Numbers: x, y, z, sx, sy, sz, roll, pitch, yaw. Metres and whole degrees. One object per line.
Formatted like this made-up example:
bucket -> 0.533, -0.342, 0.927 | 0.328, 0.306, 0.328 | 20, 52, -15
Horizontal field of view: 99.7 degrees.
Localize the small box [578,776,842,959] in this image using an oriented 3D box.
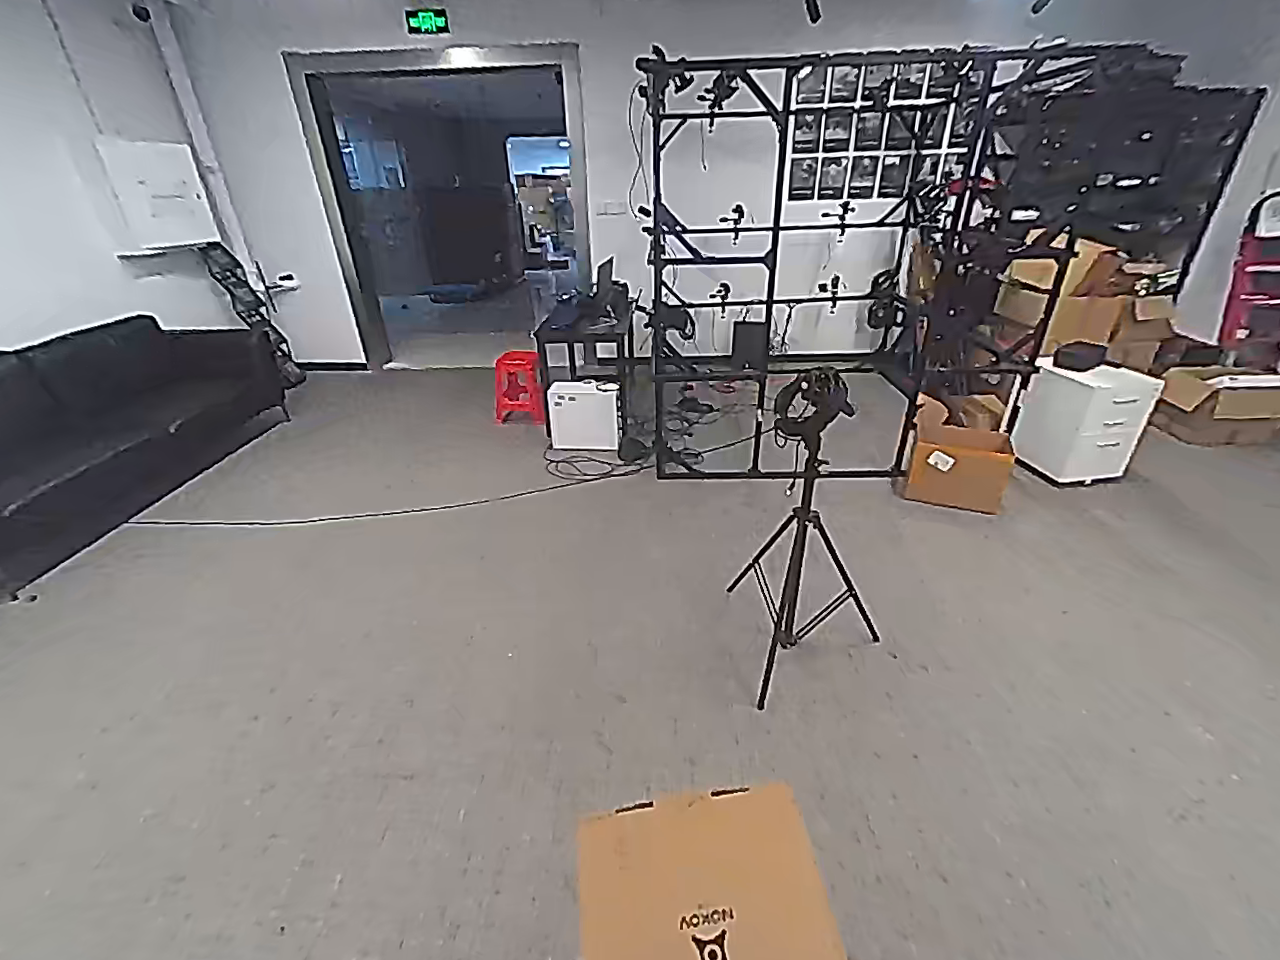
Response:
small box -> 0.043, 0.354, 0.405 | 0.168, 0.176, 0.179 | -6, 44, -6
